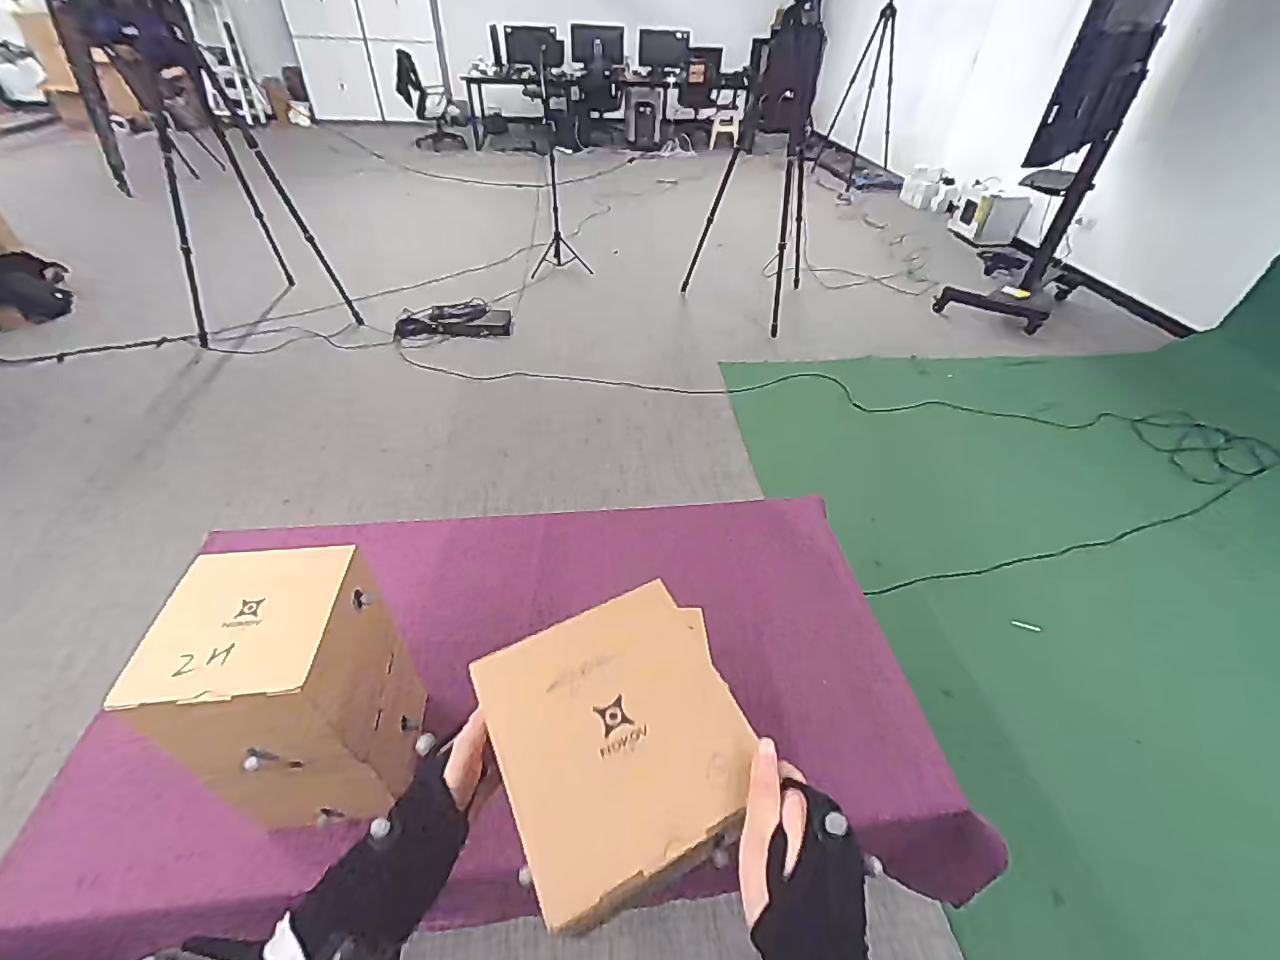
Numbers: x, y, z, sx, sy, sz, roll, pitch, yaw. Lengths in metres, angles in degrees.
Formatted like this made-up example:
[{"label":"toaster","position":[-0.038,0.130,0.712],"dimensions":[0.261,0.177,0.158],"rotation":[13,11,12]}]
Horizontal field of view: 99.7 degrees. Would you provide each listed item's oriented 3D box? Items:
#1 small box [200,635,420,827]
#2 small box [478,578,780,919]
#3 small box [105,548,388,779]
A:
[{"label":"small box","position":[-0.397,0.321,0.695],"dimensions":[0.179,0.176,0.168],"rotation":[-3,42,-8]},{"label":"small box","position":[-0.015,0.218,0.445],"dimensions":[0.168,0.176,0.179],"rotation":[-20,52,-18]},{"label":"small box","position":[-0.392,0.195,0.586],"dimensions":[0.168,0.176,0.179],"rotation":[-2,42,-5]}]
